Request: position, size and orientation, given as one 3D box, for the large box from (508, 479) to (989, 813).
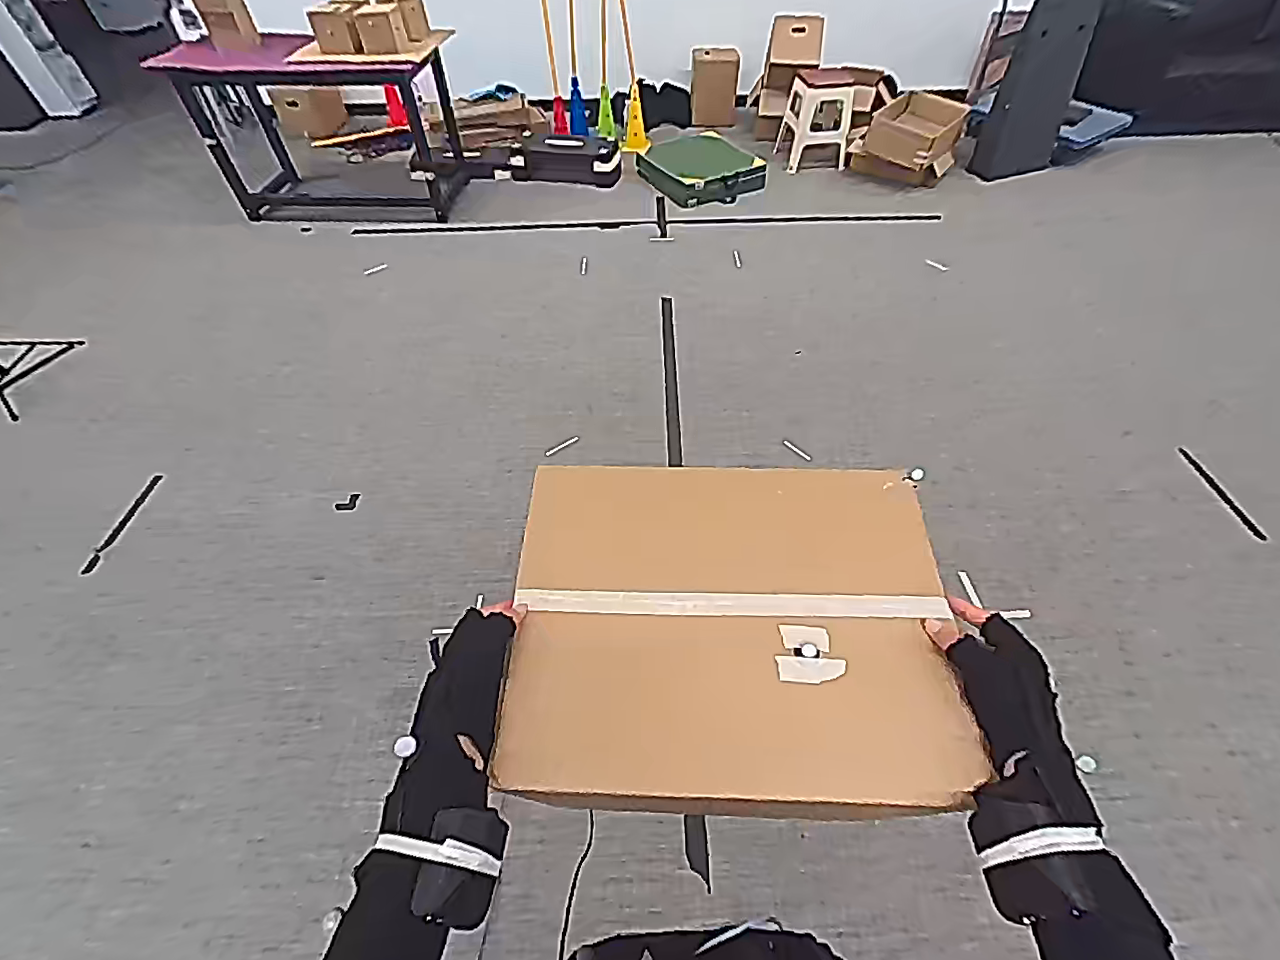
[{"bbox_3d":[0.092,0.209,0.647,0.408,0.320,0.320,1,57,2],"label":"large box"}]
